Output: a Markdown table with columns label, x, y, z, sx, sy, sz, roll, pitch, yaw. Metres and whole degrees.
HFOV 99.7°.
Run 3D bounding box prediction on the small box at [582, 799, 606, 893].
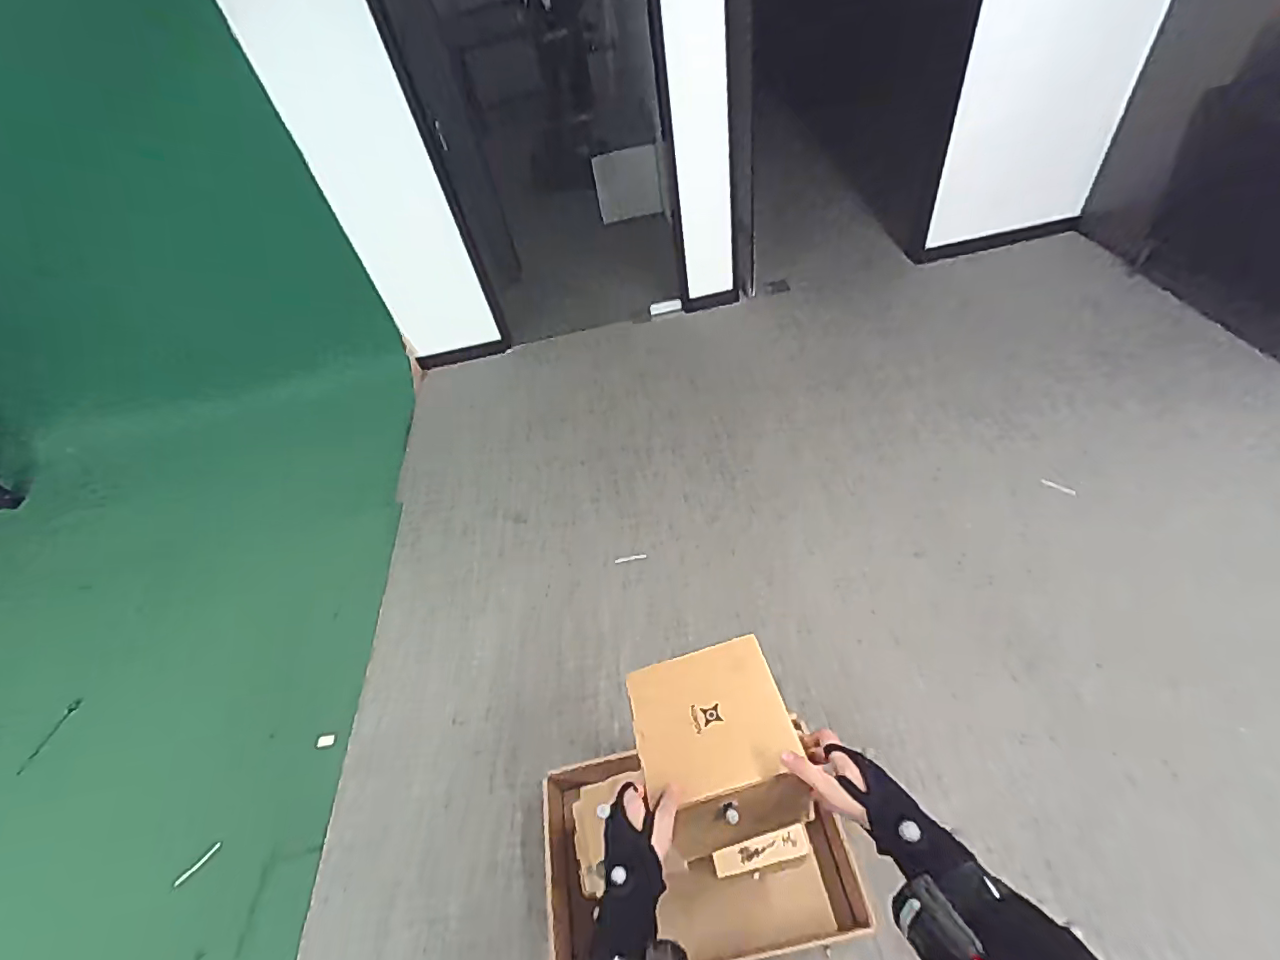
| label | x | y | z | sx | sy | sz | roll | pitch | yaw |
| --- | --- | --- | --- | --- | --- | --- | --- | --- | --- |
| small box | -0.017 | 0.790 | 1.187 | 0.179 | 0.176 | 0.168 | -14 | 49 | -2 |

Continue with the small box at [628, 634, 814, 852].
| label | x | y | z | sx | sy | sz | roll | pitch | yaw |
| --- | --- | --- | --- | --- | --- | --- | --- | --- | --- |
| small box | 0.101 | 0.326 | 0.668 | 0.179 | 0.176 | 0.168 | -20 | 41 | 2 |

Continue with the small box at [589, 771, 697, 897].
| label | x | y | z | sx | sy | sz | roll | pitch | yaw |
| --- | --- | --- | --- | --- | --- | --- | --- | --- | --- |
| small box | 0.009 | 0.686 | 1.055 | 0.168 | 0.176 | 0.179 | -15 | 49 | -4 |

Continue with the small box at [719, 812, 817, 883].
| label | x | y | z | sx | sy | sz | roll | pitch | yaw |
| --- | --- | --- | --- | --- | --- | --- | --- | --- | --- |
| small box | 0.223 | 0.645 | 1.039 | 0.168 | 0.176 | 0.179 | -15 | 47 | 0 |
